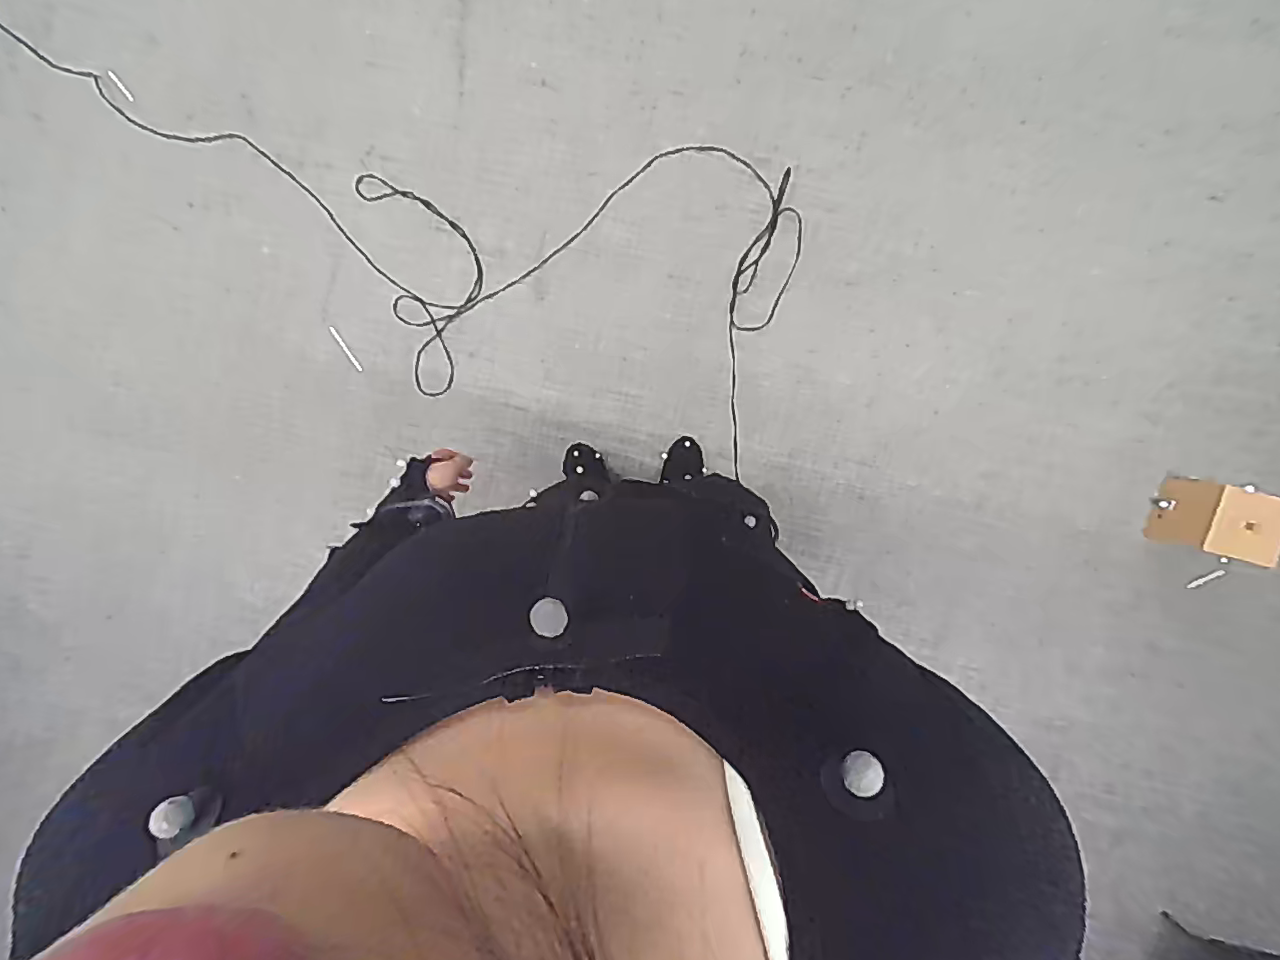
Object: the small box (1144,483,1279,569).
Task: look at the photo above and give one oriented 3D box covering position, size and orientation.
[{"bbox_3d":[1.450,0.108,1.362,0.179,0.176,0.168,13,96,2],"label":"small box"}]
